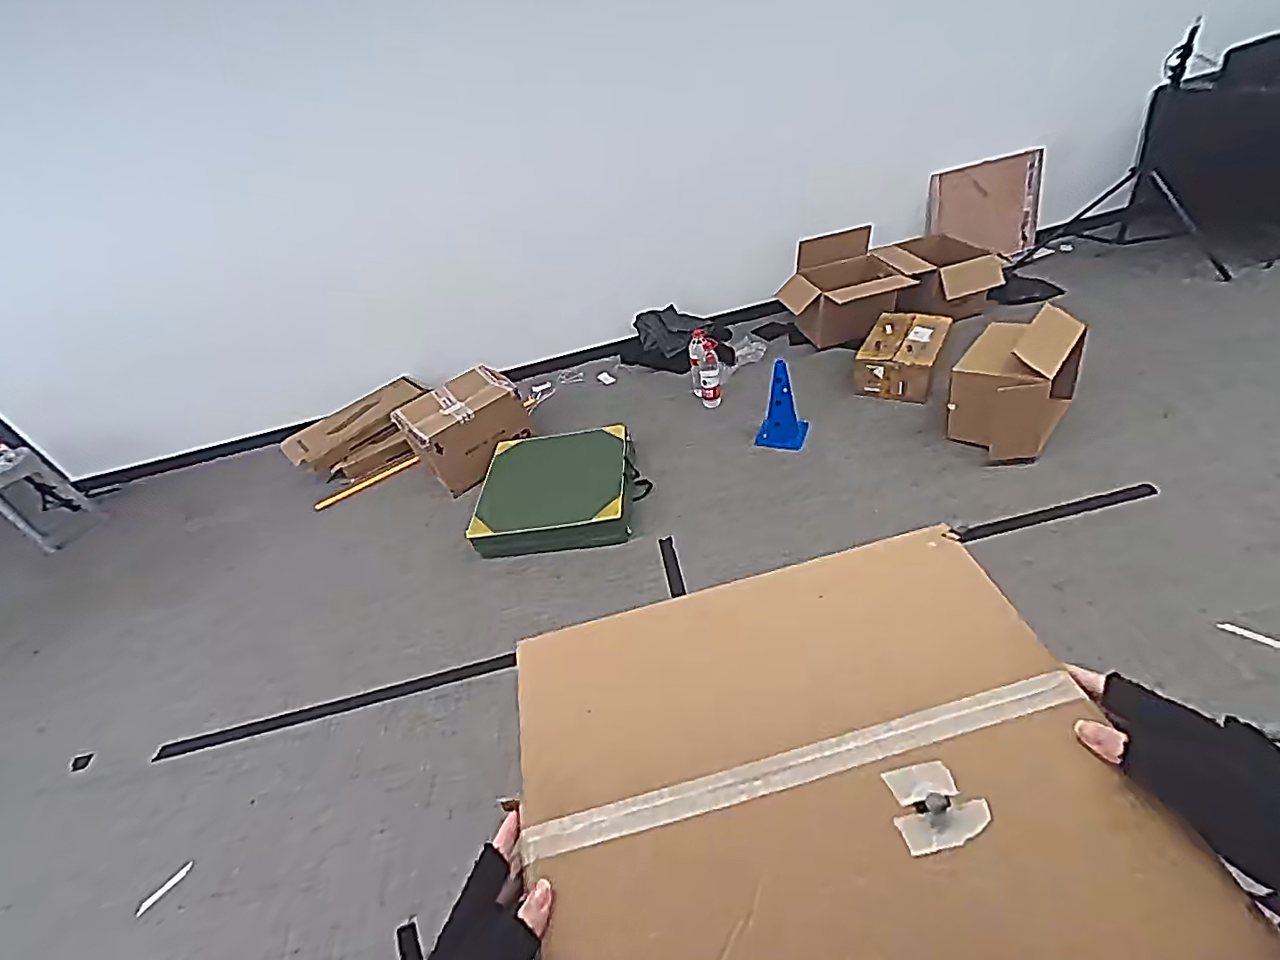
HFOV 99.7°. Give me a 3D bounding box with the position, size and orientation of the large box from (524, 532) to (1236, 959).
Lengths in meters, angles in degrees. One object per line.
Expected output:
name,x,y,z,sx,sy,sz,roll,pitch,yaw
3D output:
large box,0.138,0.306,0.505,0.408,0.320,0.320,-15,47,-3
